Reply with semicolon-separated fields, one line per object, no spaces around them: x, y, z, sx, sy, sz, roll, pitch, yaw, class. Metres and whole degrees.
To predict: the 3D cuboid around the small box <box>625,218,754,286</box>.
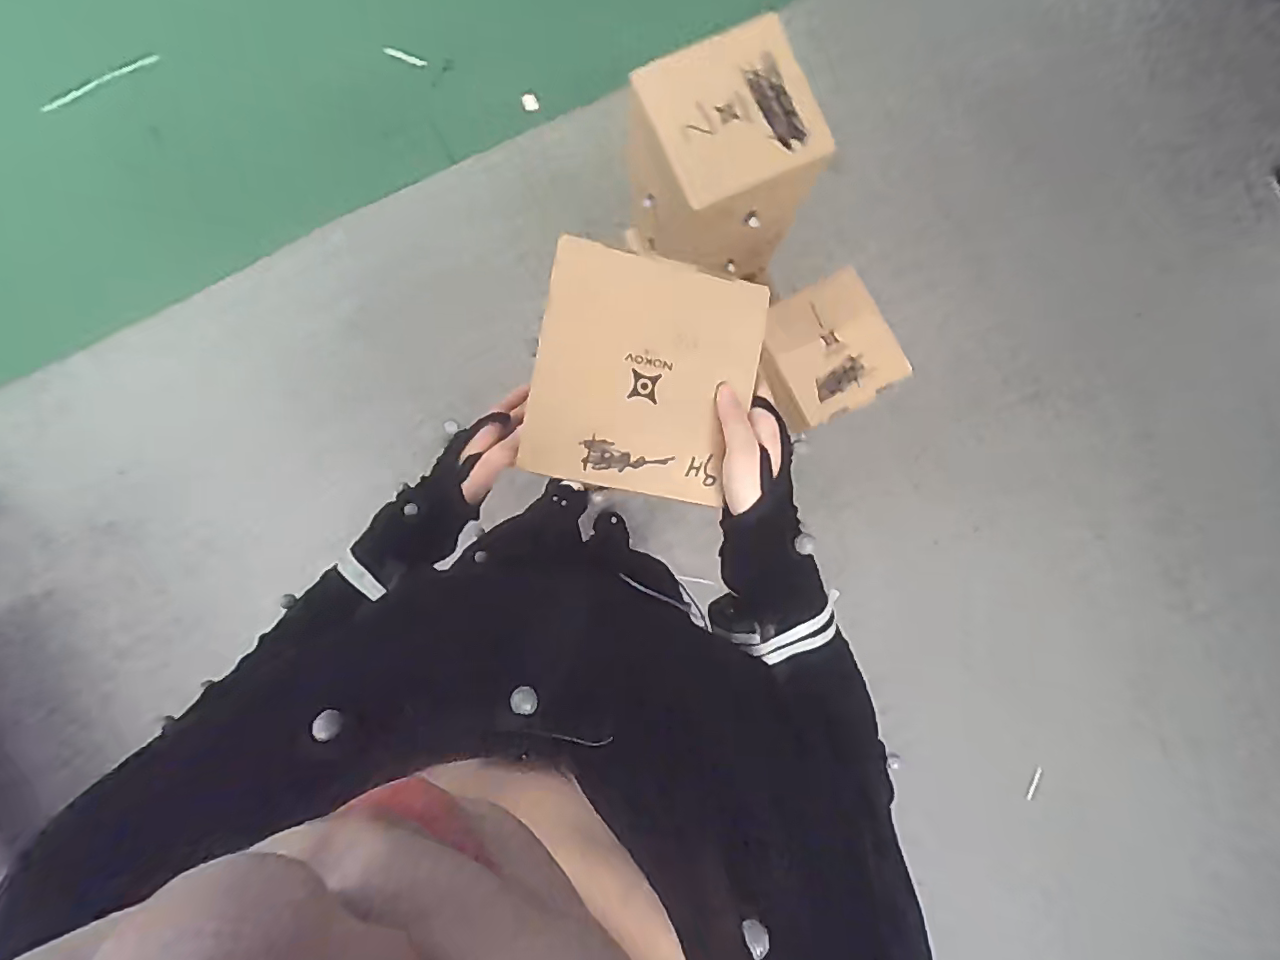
0.083;-0.389;0.987;0.179;0.176;0.168;-26;91;-3;small box

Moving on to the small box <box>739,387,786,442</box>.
0.253;-0.179;0.990;0.168;0.176;0.179;-28;88;-3;small box

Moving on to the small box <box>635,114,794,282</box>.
0.102;-0.398;0.824;0.179;0.176;0.168;-24;91;-3;small box

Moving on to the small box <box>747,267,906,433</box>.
0.259;-0.183;0.826;0.168;0.176;0.179;-27;88;-3;small box

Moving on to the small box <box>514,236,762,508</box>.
-0.013;-0.079;0.483;0.168;0.176;0.179;11;89;-10;small box
